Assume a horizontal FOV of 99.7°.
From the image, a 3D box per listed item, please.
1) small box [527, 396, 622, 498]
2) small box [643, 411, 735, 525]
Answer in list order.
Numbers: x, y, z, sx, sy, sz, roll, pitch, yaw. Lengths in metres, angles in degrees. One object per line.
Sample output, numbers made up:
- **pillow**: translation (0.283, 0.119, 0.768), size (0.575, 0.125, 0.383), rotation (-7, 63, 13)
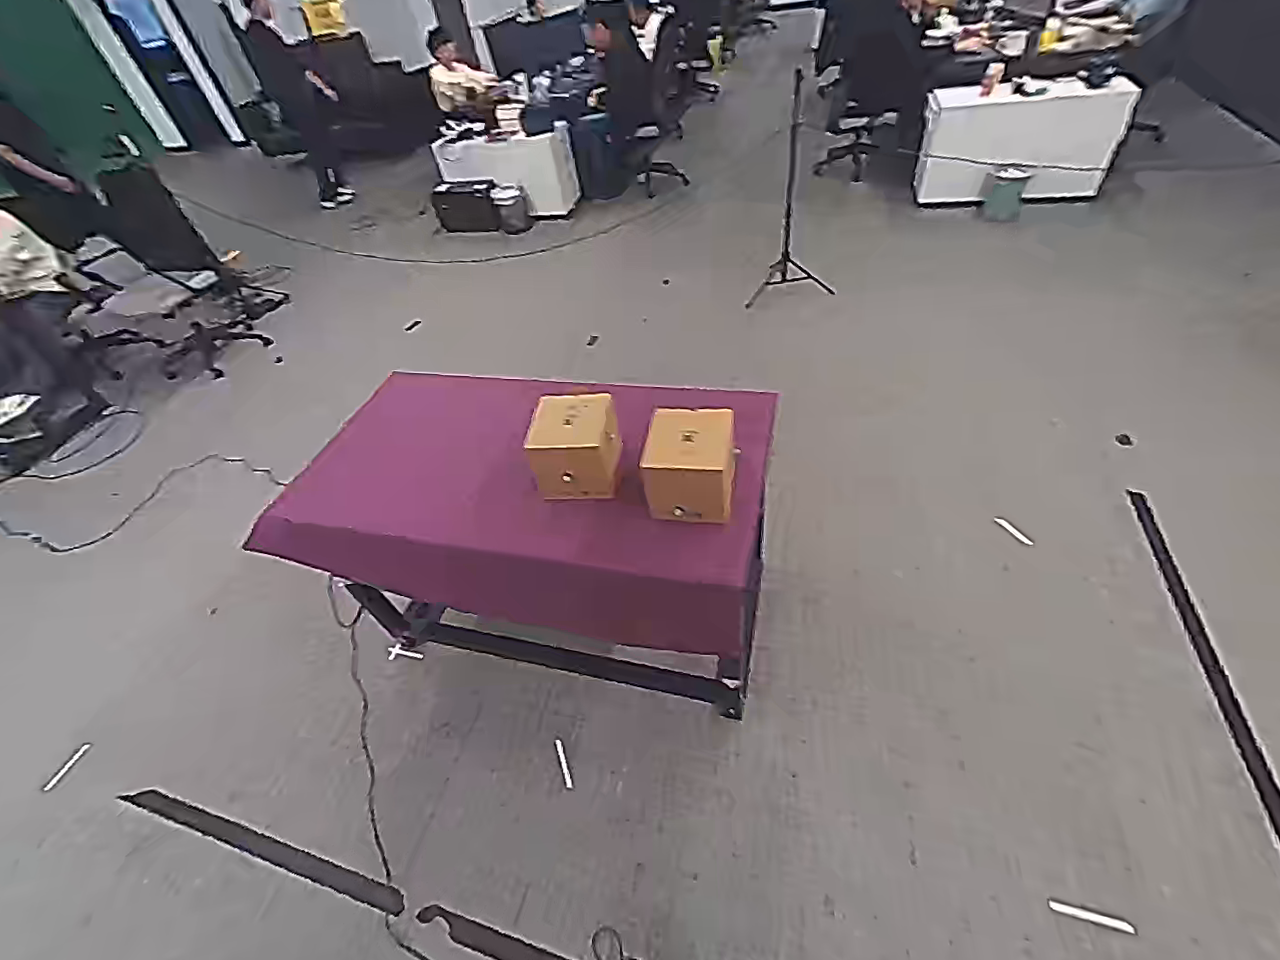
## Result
- **small box**: translation (-0.141, -0.071, 1.245), size (0.168, 0.176, 0.179), rotation (-1, 46, 10)
- **small box**: translation (0.112, -0.027, 1.155), size (0.168, 0.176, 0.179), rotation (3, 47, 14)
